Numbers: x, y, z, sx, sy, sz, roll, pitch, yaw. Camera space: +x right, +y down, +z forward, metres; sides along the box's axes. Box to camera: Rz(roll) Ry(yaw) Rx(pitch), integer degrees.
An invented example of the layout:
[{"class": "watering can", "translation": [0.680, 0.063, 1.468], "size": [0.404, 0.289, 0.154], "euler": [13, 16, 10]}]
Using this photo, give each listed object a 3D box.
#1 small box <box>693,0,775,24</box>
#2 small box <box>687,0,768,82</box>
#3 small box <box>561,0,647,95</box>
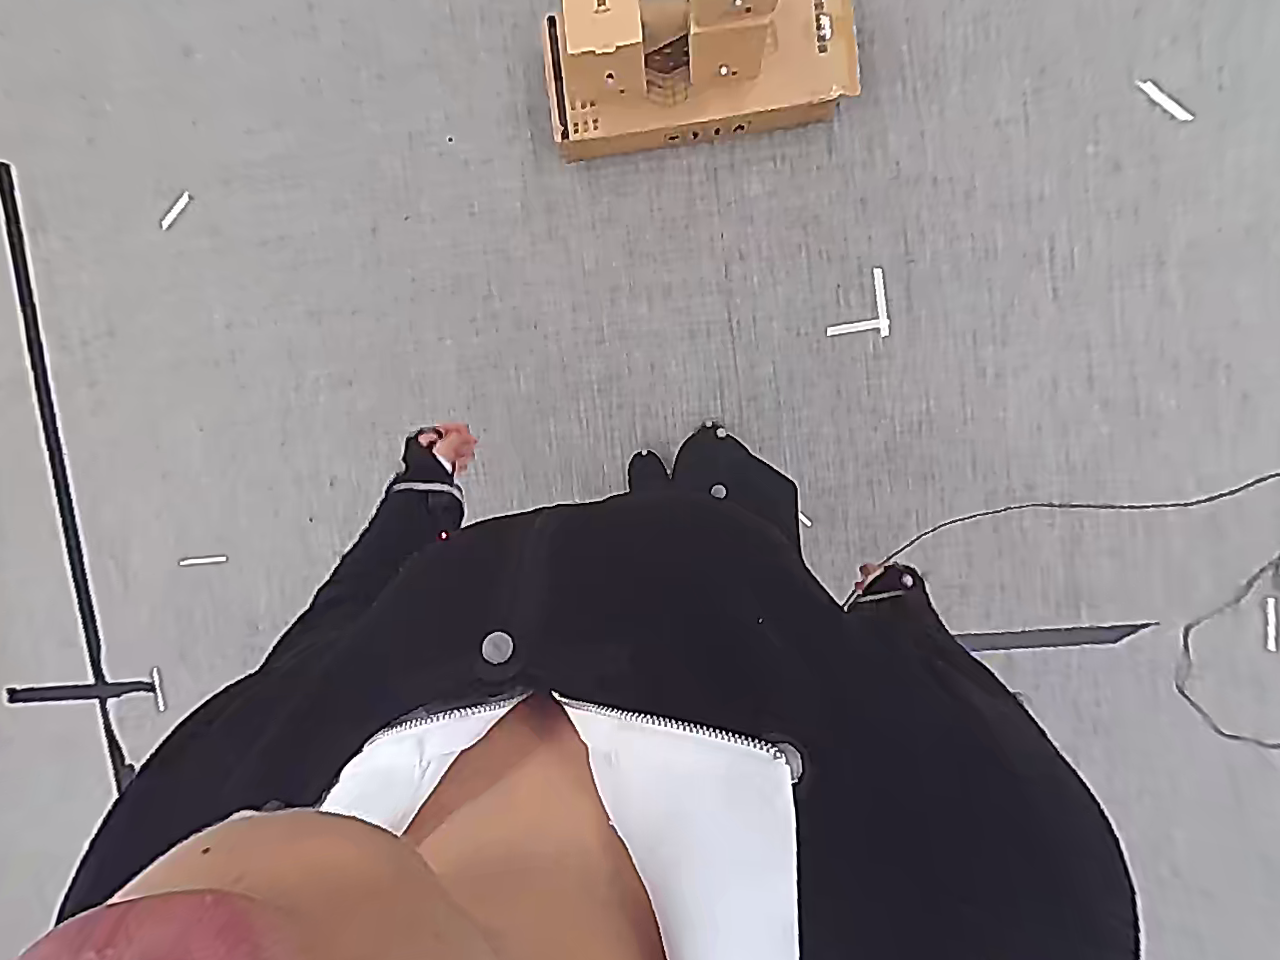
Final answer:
[{"class": "small box", "translation": [0.179, -1.037, 1.037], "size": [0.168, 0.176, 0.179], "euler": [-7, 94, 6]}, {"class": "small box", "translation": [0.189, -1.035, 1.203], "size": [0.168, 0.176, 0.179], "euler": [-2, 95, 5]}, {"class": "small box", "translation": [-0.078, -1.009, 1.225], "size": [0.168, 0.176, 0.179], "euler": [-5, 95, 6]}]
